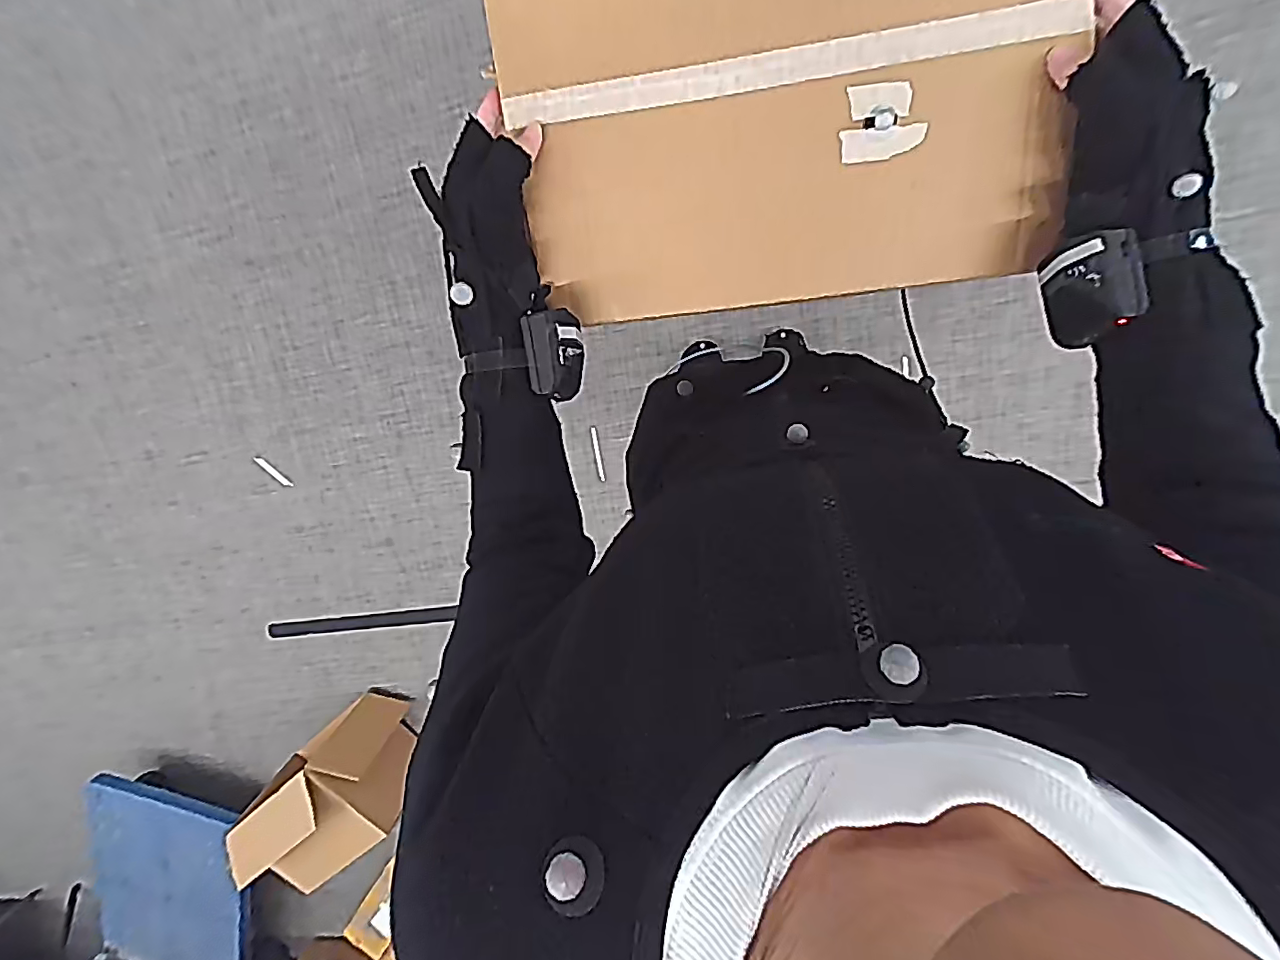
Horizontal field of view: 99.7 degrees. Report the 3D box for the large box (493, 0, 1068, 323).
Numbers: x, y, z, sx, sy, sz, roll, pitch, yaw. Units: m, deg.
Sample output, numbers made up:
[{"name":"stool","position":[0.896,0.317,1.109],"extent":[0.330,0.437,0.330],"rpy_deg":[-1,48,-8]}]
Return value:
[{"name":"large box","position":[0.107,-0.342,0.536],"extent":[0.408,0.320,0.320],"rpy_deg":[-6,107,6]}]
